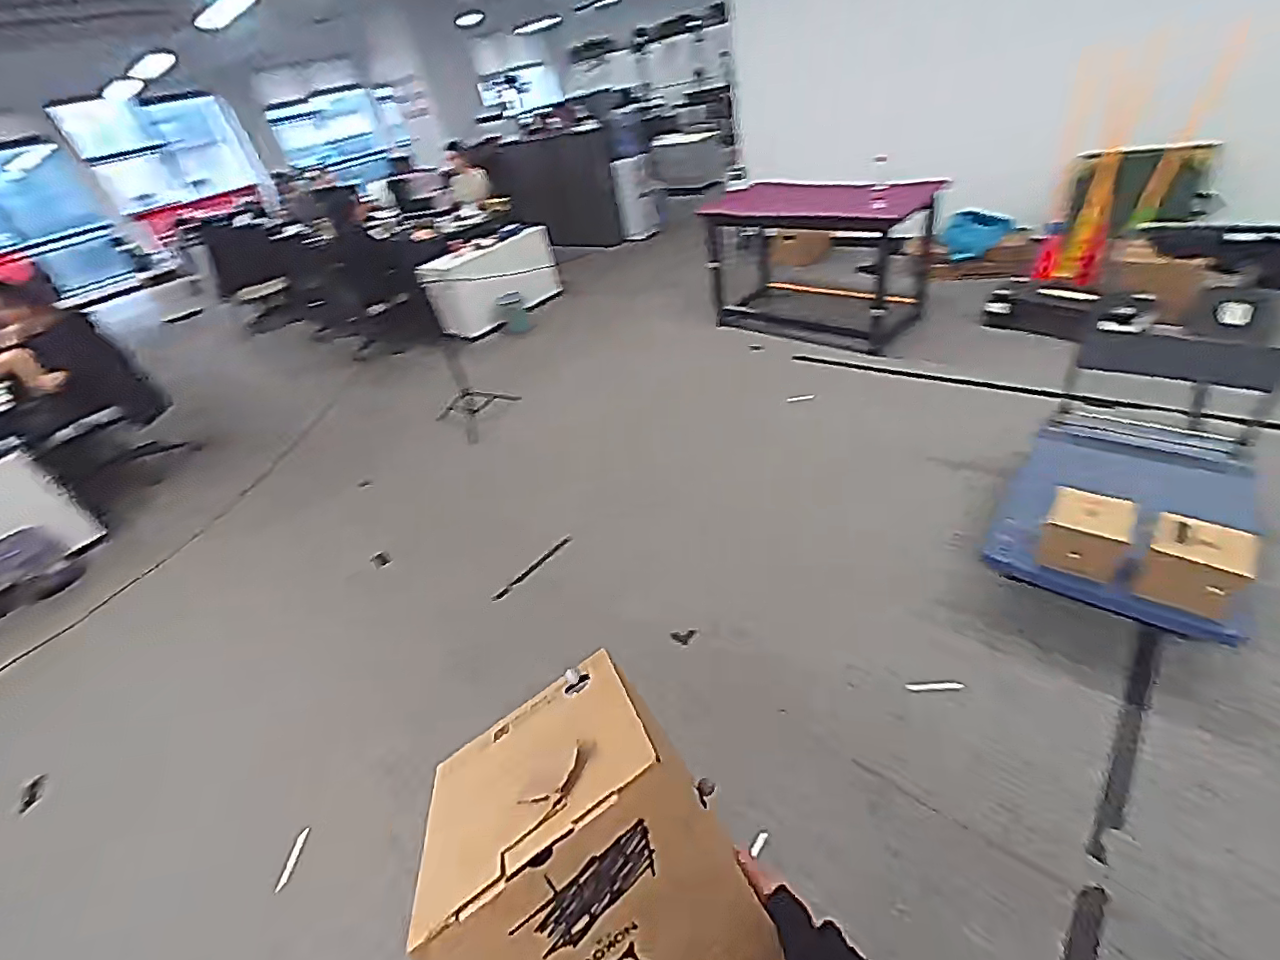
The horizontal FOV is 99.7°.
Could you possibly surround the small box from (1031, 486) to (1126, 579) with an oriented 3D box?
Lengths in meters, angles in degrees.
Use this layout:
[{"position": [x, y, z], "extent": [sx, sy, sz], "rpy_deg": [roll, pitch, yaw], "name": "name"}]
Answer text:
[{"position": [1.236, 0.150, 1.533], "extent": [0.168, 0.176, 0.179], "rpy_deg": [19, 47, 35], "name": "small box"}]
